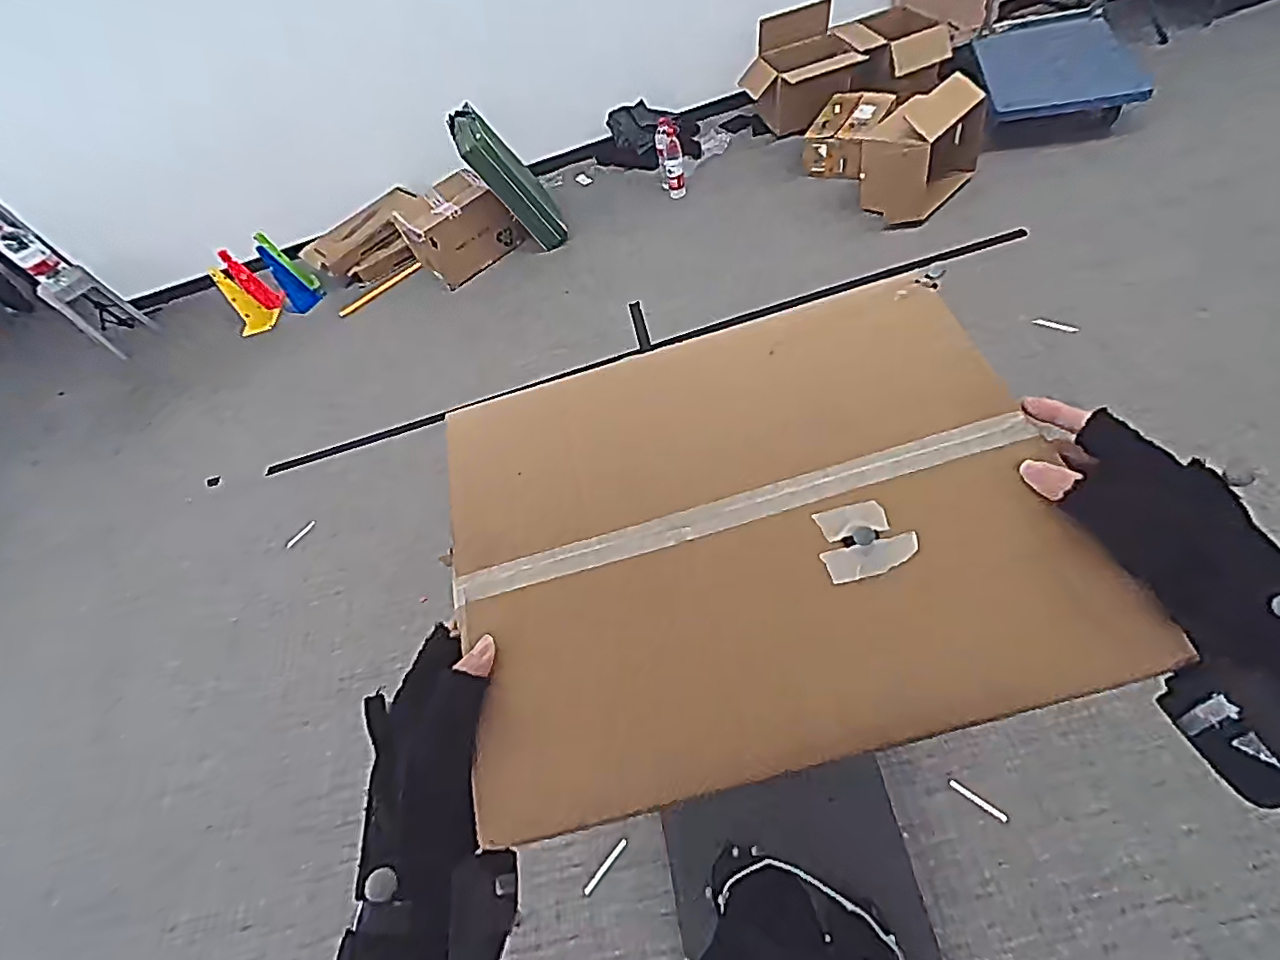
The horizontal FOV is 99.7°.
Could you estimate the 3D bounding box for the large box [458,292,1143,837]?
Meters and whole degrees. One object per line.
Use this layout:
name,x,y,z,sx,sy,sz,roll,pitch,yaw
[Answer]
large box,0.091,0.095,0.518,0.408,0.320,0.320,-17,62,2
